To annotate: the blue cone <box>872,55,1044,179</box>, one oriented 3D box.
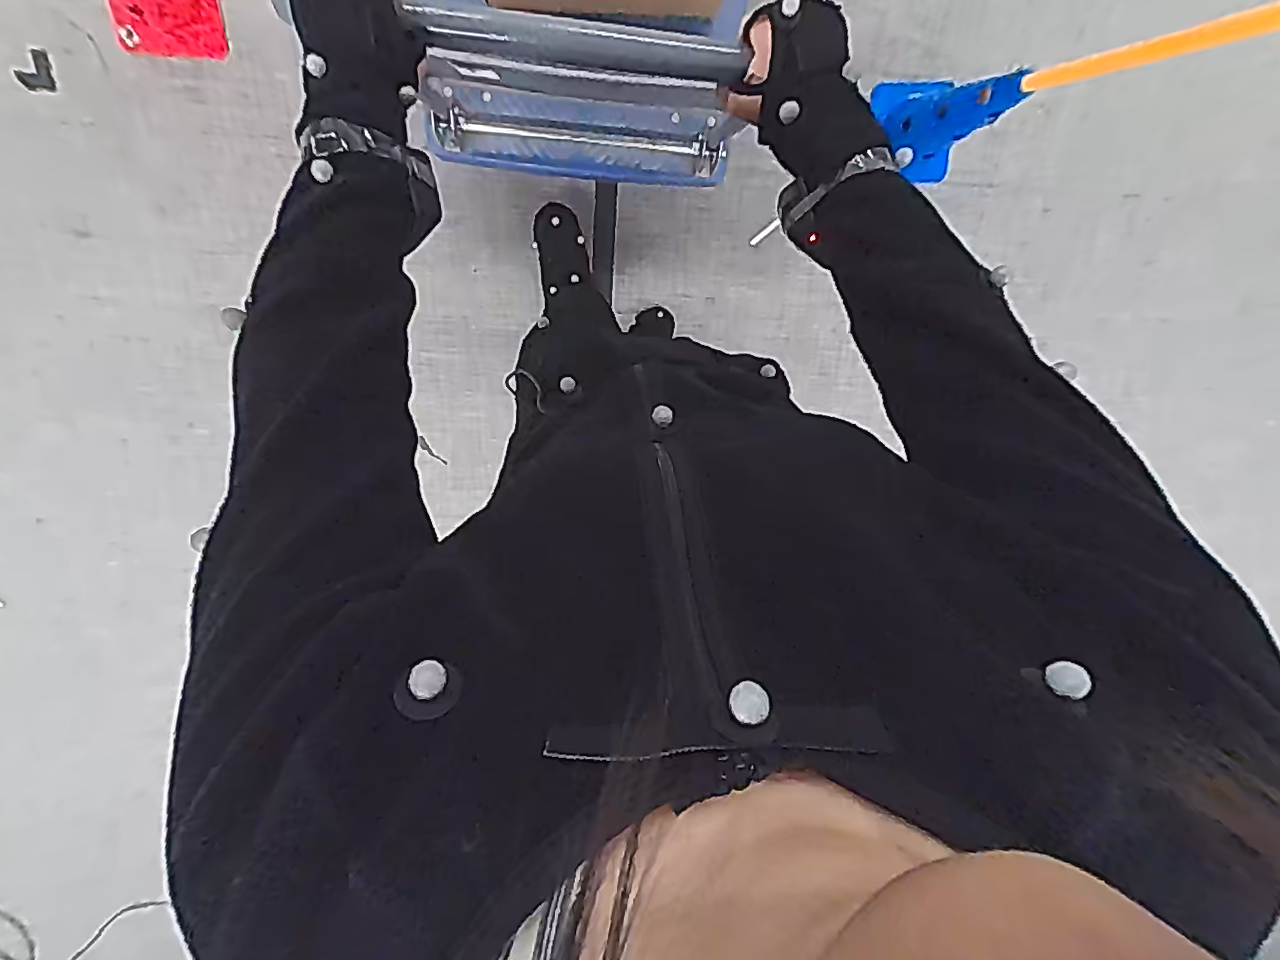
[{"bbox_3d":[0.634,-0.734,1.069,0.193,0.380,0.192,-2,110,-5],"label":"blue cone"}]
